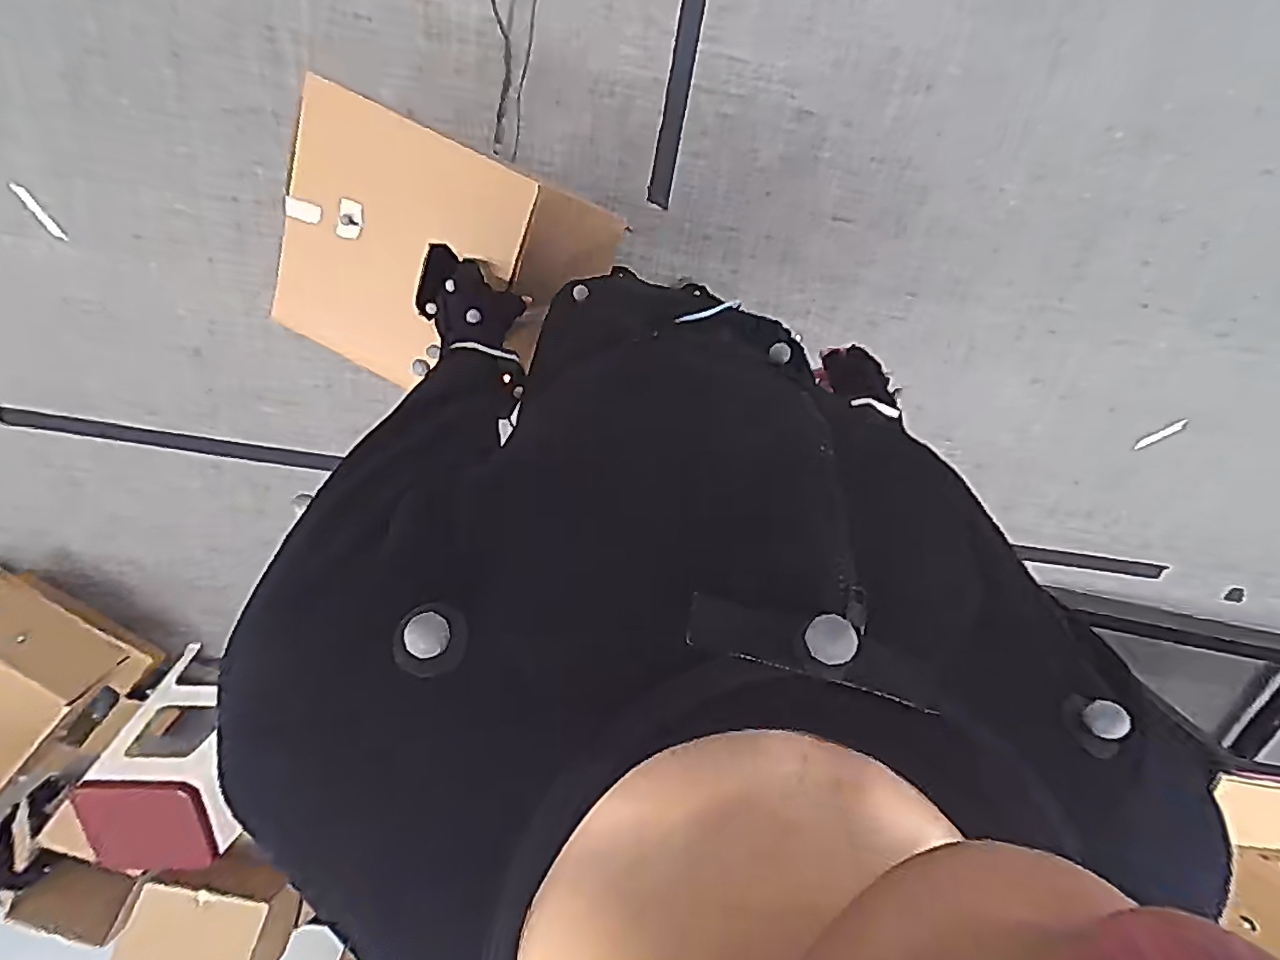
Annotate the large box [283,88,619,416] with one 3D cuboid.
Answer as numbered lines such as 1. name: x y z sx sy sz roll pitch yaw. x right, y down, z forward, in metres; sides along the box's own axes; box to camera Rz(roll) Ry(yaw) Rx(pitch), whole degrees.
1. large box: -0.275 -0.348 0.871 0.320 0.408 0.320 28 114 2
